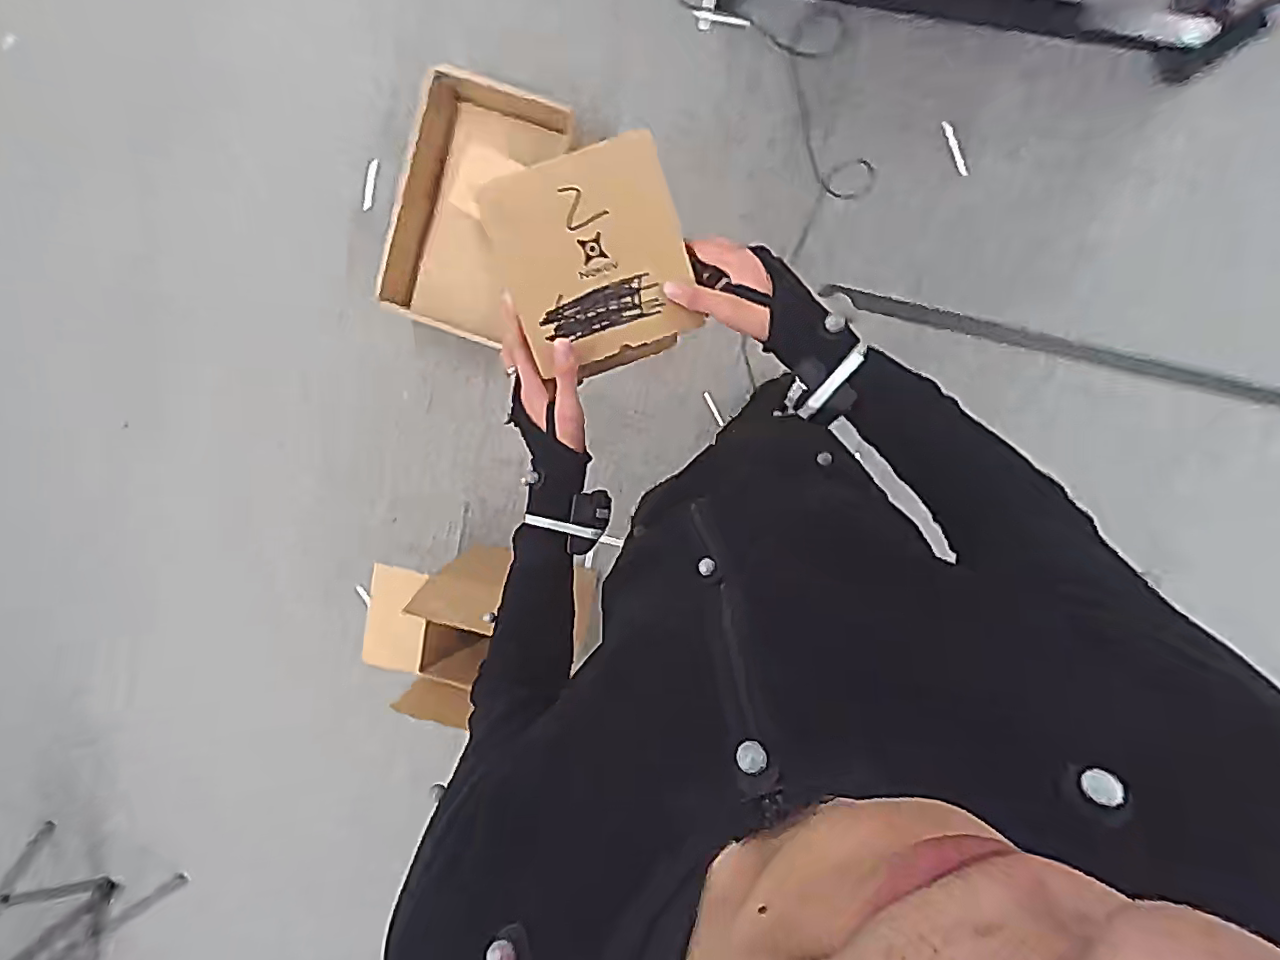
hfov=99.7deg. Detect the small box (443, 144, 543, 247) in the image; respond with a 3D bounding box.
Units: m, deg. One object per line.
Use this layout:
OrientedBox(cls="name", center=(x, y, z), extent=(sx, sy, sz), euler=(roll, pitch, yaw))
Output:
OrientedBox(cls="small box", center=(-0.379, -0.739, 1.429), extent=(0.179, 0.176, 0.168), euler=(28, 102, 2))
